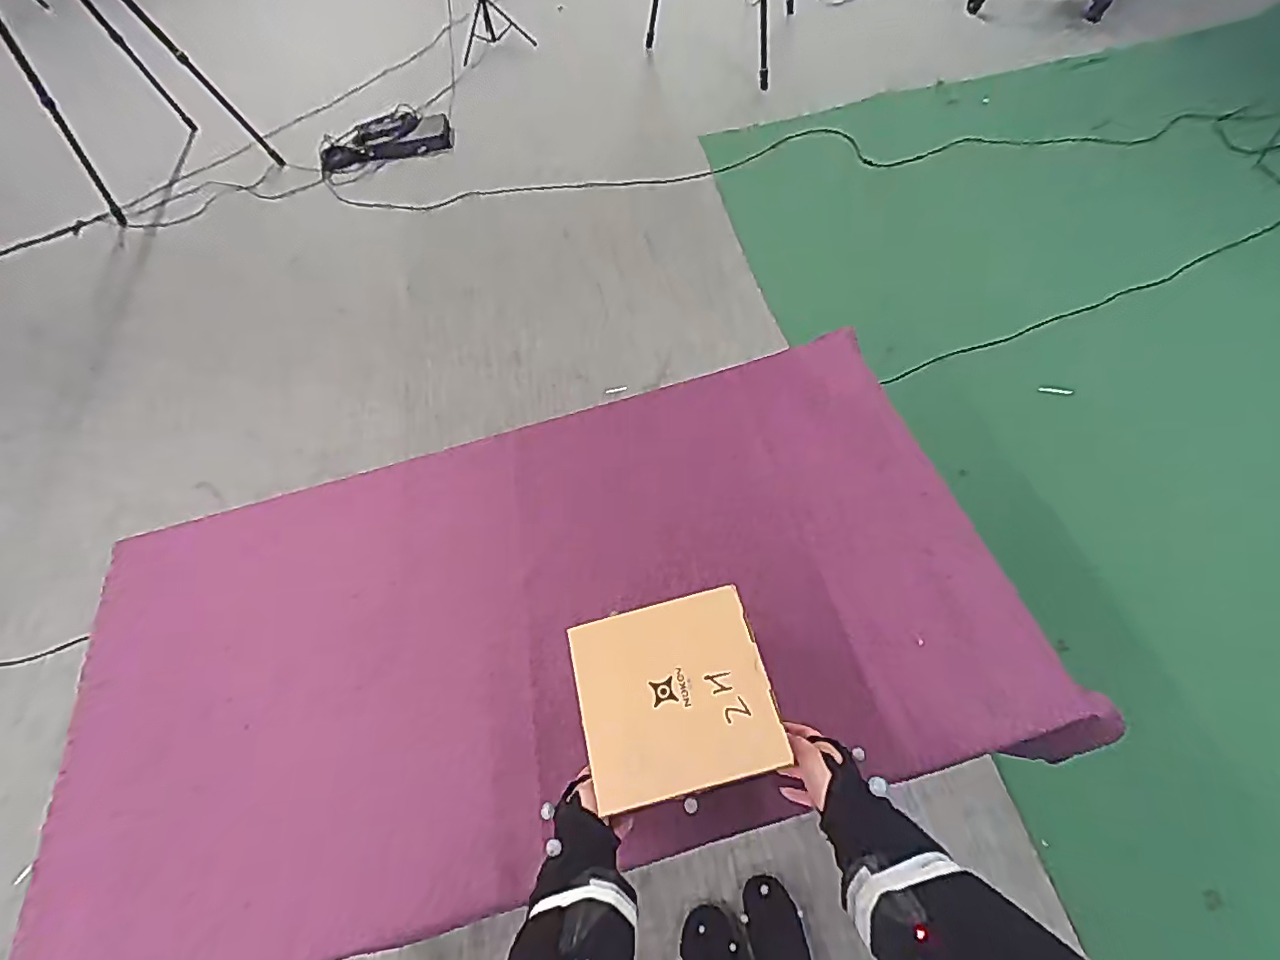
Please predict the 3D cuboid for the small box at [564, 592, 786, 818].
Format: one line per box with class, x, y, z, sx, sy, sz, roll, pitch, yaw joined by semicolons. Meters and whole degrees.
small box;0.034;0.240;0.565;0.179;0.176;0.168;-14;59;-2
